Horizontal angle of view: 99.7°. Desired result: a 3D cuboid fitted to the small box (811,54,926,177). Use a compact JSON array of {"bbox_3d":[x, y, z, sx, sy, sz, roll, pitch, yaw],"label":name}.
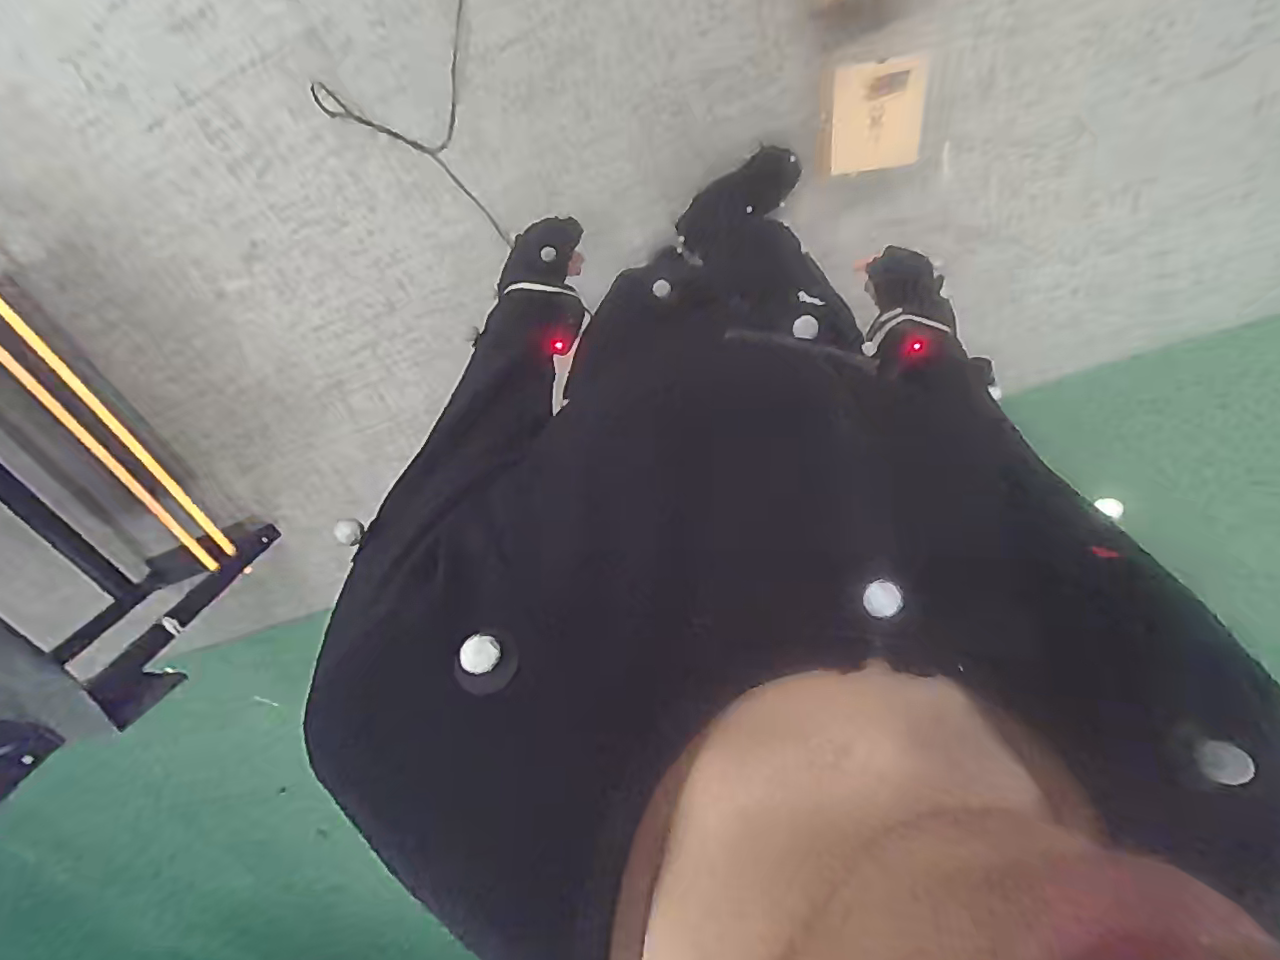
[{"bbox_3d":[0.441,-0.712,1.073,0.168,0.176,0.179,-5,121,7],"label":"small box"}]
